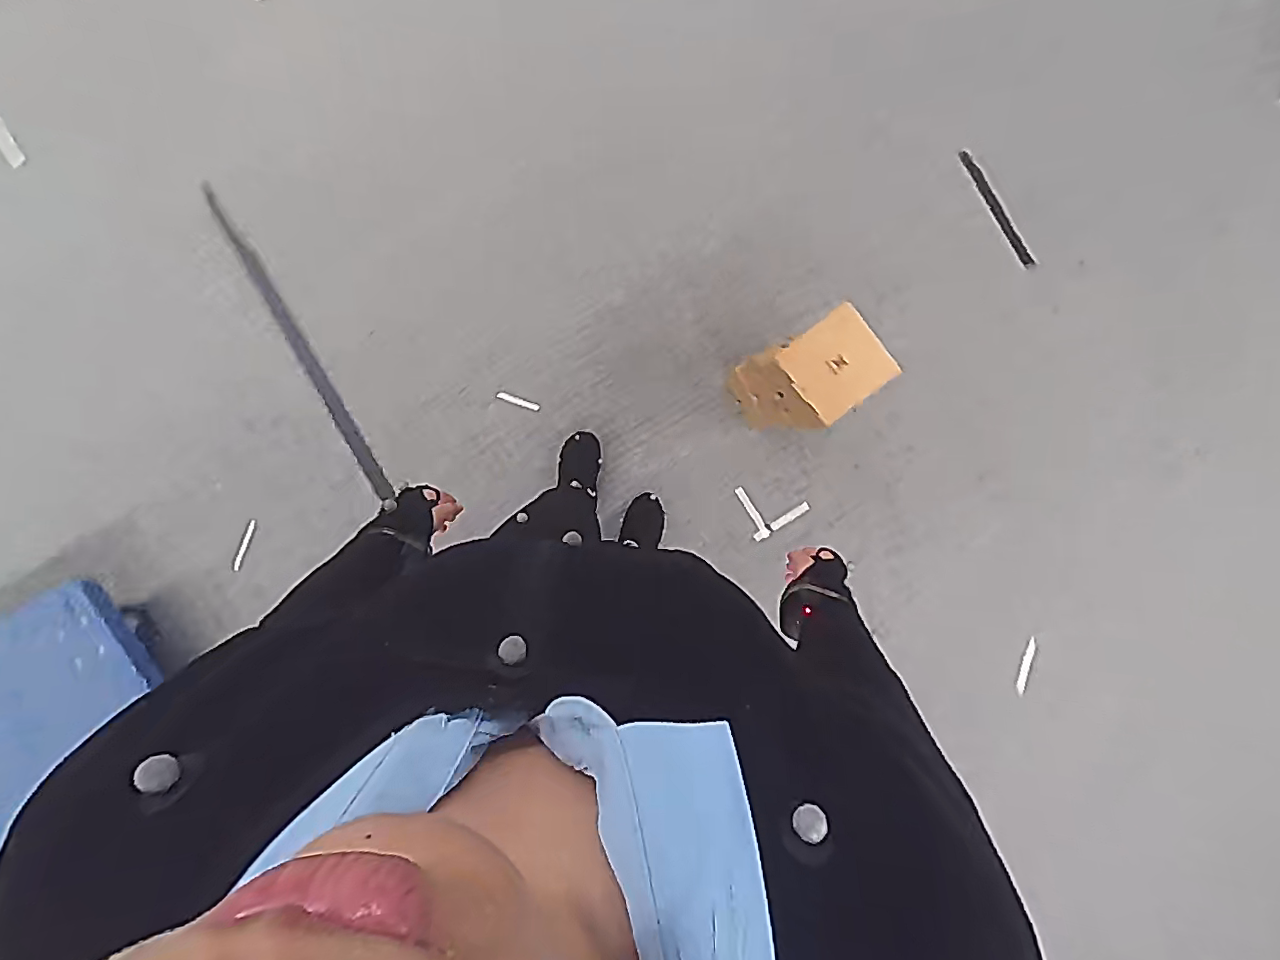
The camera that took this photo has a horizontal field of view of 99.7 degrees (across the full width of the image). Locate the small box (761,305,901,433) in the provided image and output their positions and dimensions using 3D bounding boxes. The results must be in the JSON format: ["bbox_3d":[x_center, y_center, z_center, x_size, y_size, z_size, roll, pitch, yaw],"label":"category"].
[{"bbox_3d":[0.366,-0.211,1.075,0.179,0.176,0.168,-38,91,1],"label":"small box"}]

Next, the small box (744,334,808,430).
[{"bbox_3d":[0.360,-0.226,1.238,0.179,0.176,0.168,-26,90,1],"label":"small box"}]
